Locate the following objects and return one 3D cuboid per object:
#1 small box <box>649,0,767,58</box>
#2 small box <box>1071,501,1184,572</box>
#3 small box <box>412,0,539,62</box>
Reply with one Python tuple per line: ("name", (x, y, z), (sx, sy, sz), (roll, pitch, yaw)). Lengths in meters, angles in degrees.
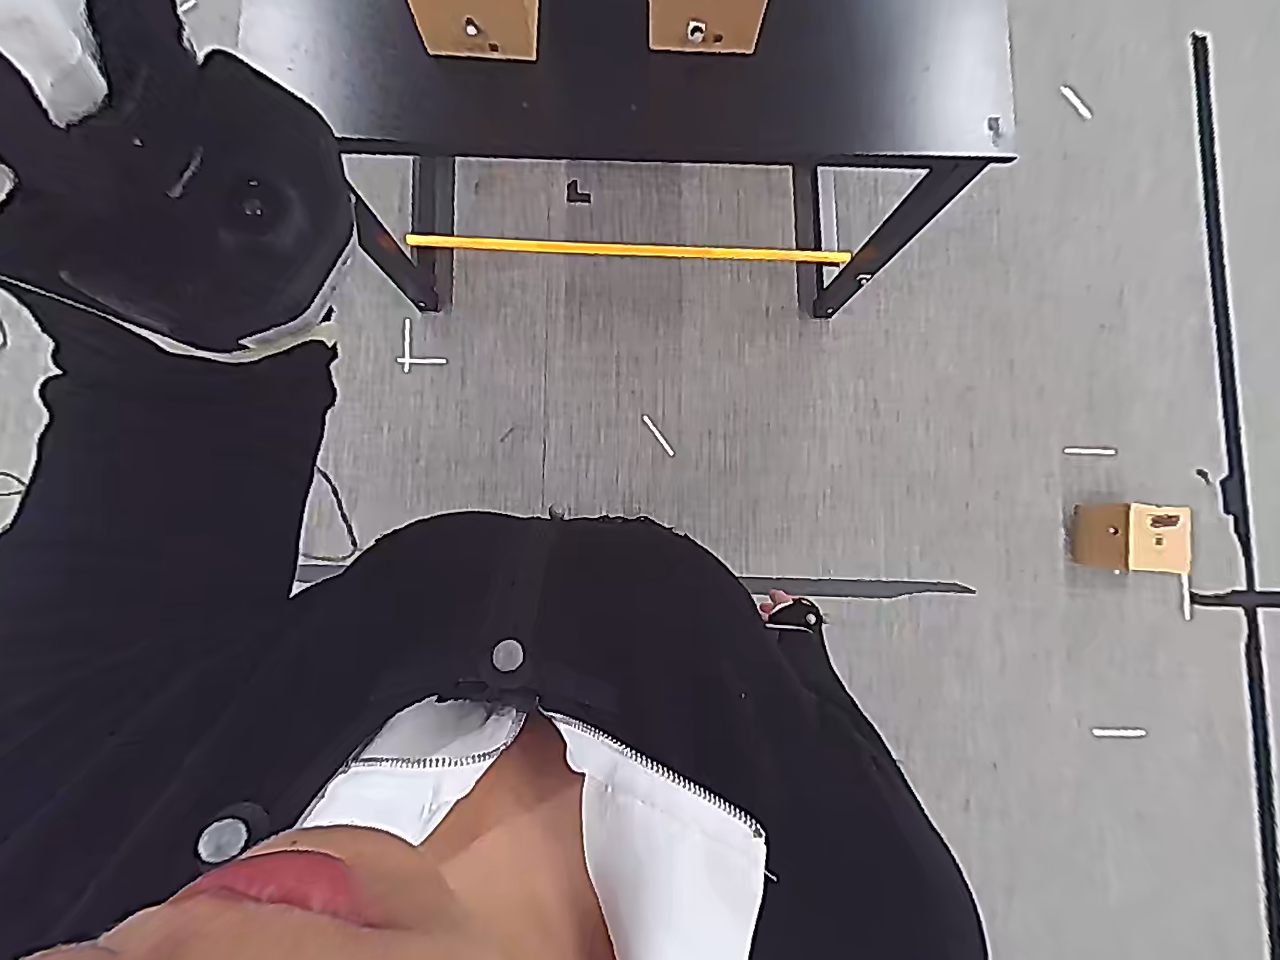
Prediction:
("small box", (0.098, -0.762, 0.779), (0.168, 0.176, 0.179), (-1, 86, -2))
("small box", (1.338, 0.153, 1.493), (0.168, 0.176, 0.179), (5, 86, -2))
("small box", (-0.237, -0.742, 0.759), (0.168, 0.176, 0.179), (2, 85, -2))
